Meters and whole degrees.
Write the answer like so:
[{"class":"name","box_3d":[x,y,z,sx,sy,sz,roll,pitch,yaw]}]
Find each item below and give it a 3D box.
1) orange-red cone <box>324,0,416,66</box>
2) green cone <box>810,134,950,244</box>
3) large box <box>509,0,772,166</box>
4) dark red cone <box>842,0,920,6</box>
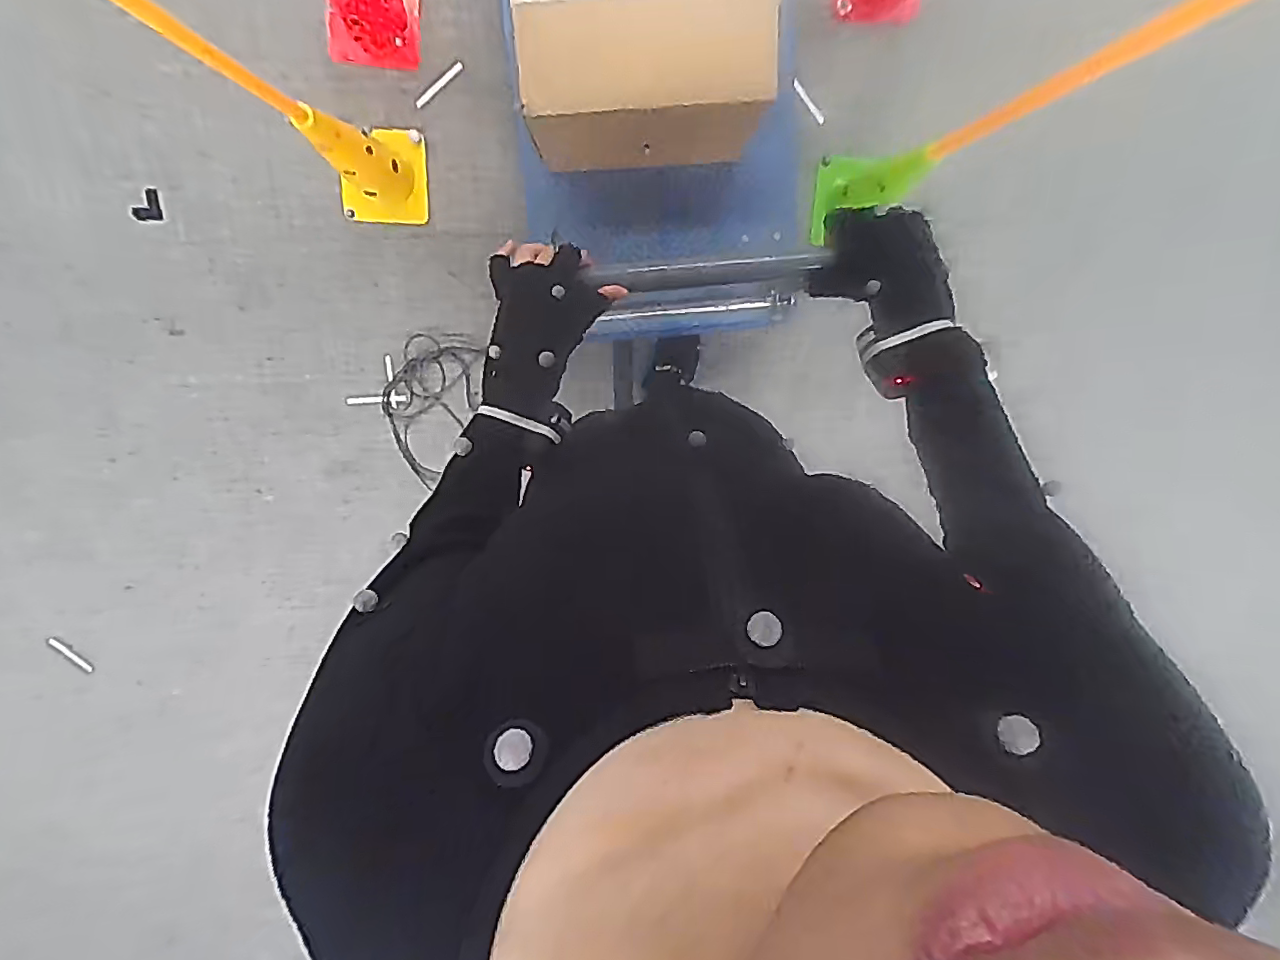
[{"class":"orange-red cone","box_3d":[-0.586,-1.001,1.029,0.198,0.360,0.199,5,103,-5]},{"class":"green cone","box_3d":[0.532,-0.648,1.158,0.202,0.368,0.200,2,104,-4]},{"class":"large box","box_3d":[-0.001,-0.780,0.956,0.408,0.320,0.320,-4,105,0]},{"class":"dark red cone","box_3d":[0.543,-1.114,1.022,0.201,0.394,0.202,-2,105,-4]}]
